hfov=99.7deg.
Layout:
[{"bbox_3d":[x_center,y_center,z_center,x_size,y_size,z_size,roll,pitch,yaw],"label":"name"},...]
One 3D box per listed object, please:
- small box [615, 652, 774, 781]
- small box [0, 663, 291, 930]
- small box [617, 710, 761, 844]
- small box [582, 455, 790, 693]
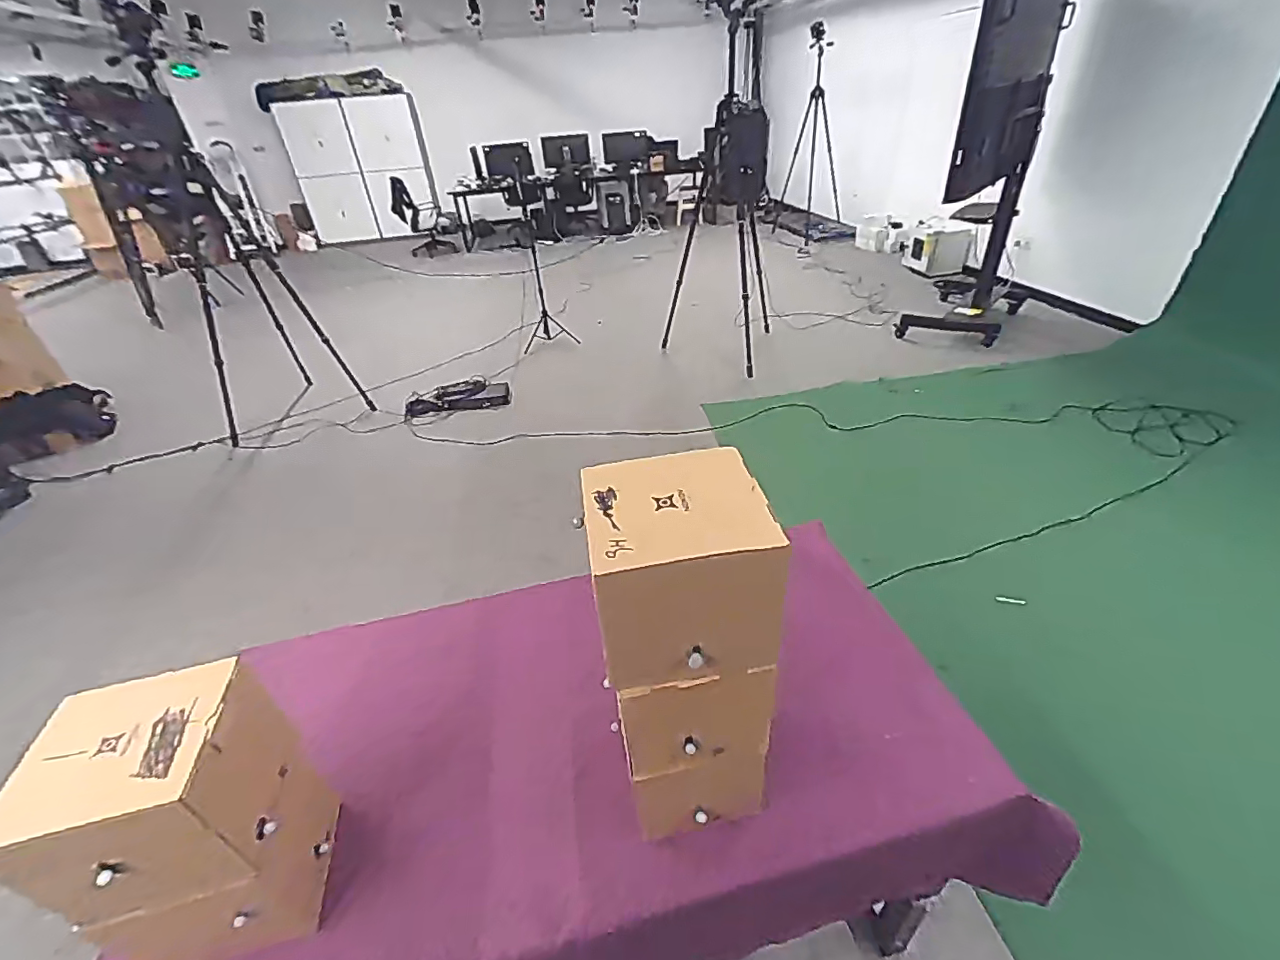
[{"bbox_3d":[0.049,0.228,0.661,0.168,0.176,0.179,-9,36,-6],"label":"small box"},{"bbox_3d":[-0.512,0.332,0.577,0.179,0.176,0.168,-12,35,-10],"label":"small box"},{"bbox_3d":[0.058,0.363,0.753,0.168,0.176,0.179,-10,35,-6],"label":"small box"},{"bbox_3d":[0.037,0.095,0.565,0.179,0.176,0.168,-7,35,-5],"label":"small box"}]
